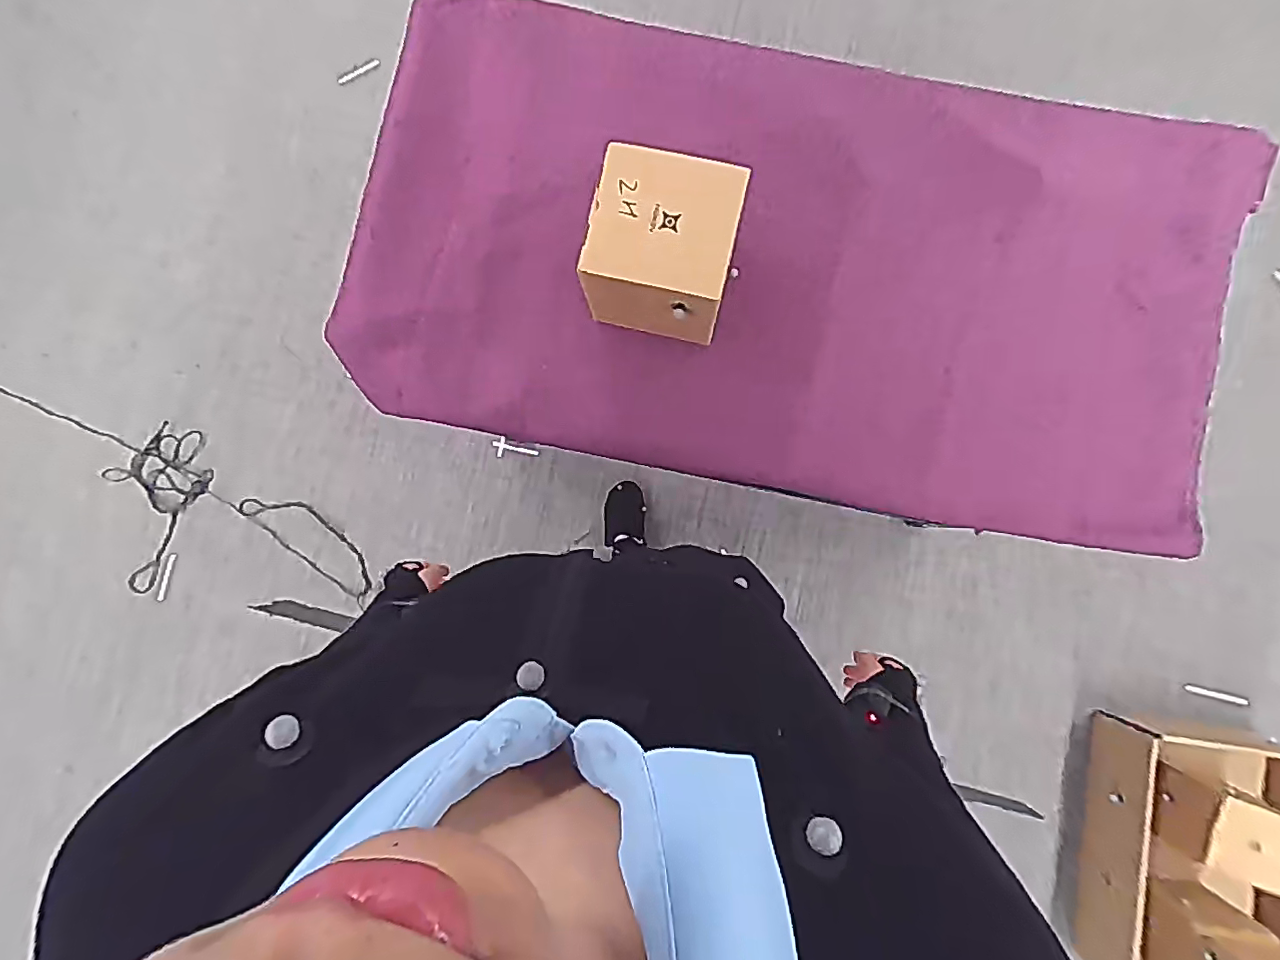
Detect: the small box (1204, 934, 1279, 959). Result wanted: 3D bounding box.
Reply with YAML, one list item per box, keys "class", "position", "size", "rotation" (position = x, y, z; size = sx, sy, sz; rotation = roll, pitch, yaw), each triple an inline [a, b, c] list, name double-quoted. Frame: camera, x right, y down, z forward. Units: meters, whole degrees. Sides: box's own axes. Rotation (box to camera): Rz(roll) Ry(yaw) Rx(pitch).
- class: "small box"
  position: [1.277, 1.055, 1.073]
  size: [0.179, 0.176, 0.168]
  rotation: [9, 87, 2]

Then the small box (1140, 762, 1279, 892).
- class: "small box"
  position: [1.336, 0.790, 1.253]
  size: [0.179, 0.176, 0.168]
  rotation: [18, 89, 4]

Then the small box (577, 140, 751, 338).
- class: "small box"
  position: [0.032, -0.301, 0.714]
  size: [0.179, 0.176, 0.168]
  rotation: [13, 87, 4]
